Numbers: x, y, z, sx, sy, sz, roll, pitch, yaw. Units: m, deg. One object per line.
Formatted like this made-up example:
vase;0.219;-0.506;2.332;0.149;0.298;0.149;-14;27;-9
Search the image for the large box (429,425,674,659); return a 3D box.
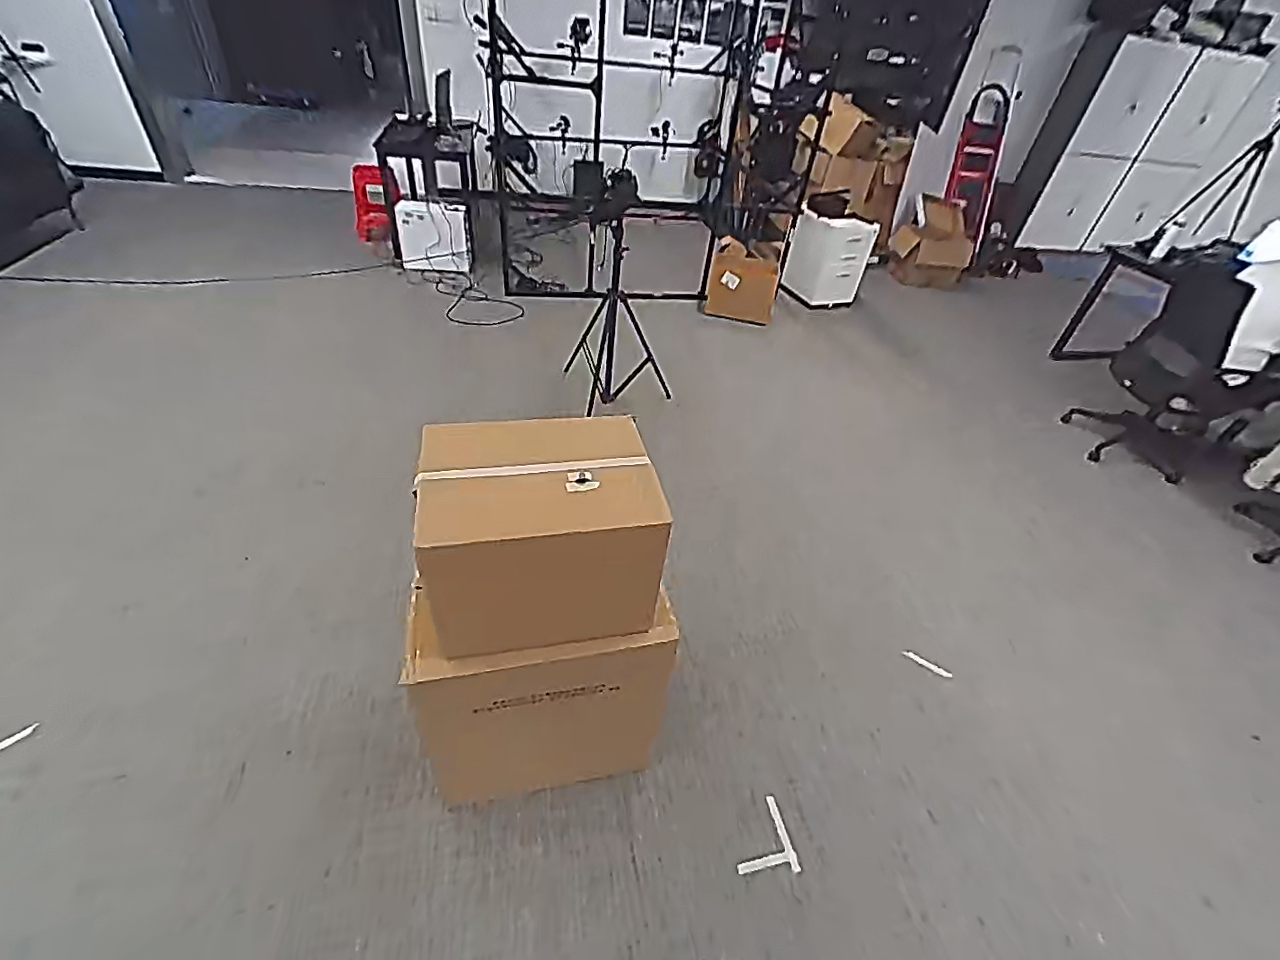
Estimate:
large box;-0.184;0.111;1.067;0.408;0.320;0.320;-4;42;-15
